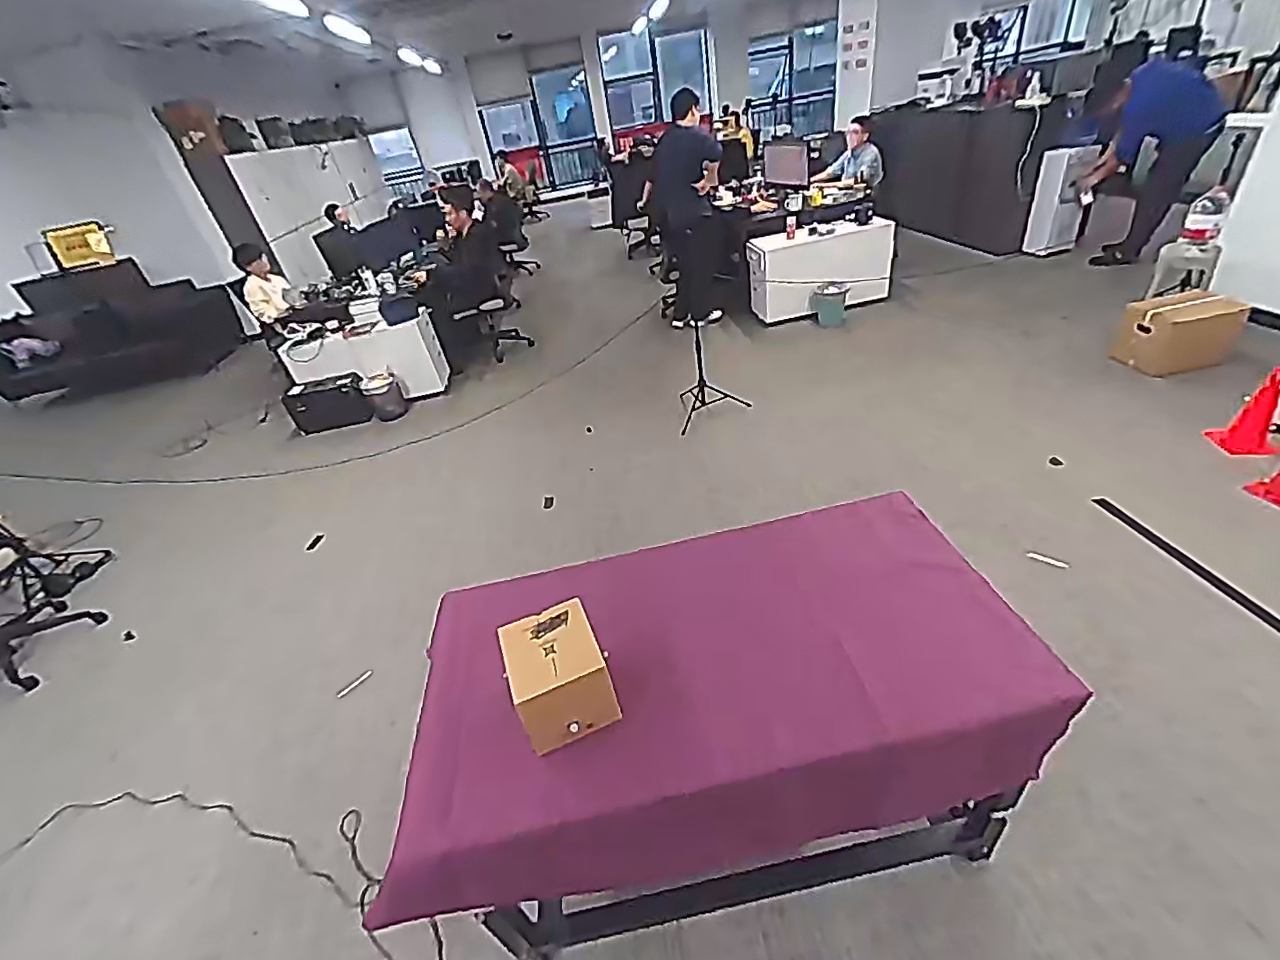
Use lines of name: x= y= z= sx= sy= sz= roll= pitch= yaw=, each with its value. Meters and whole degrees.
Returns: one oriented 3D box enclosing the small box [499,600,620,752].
small box: x=-0.150 y=0.366 z=1.018 sx=0.168 sy=0.176 sz=0.179 roll=-20 pitch=37 yaw=-12
